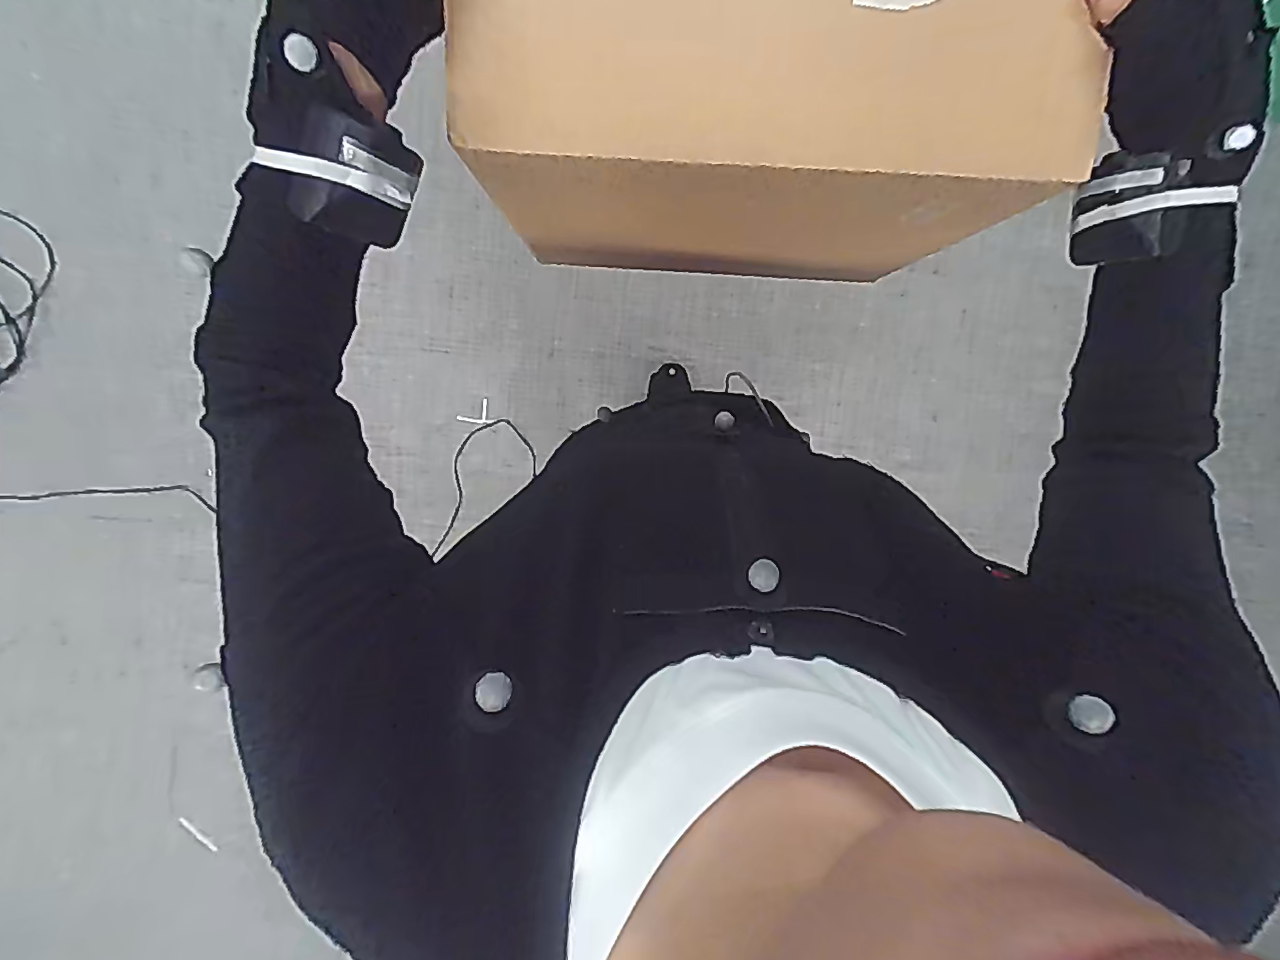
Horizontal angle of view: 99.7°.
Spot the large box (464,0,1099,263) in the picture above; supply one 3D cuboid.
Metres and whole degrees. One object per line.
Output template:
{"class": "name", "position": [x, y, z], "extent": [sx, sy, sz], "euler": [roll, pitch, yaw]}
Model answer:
{"class": "large box", "position": [0.087, -0.387, 0.472], "extent": [0.408, 0.320, 0.320], "euler": [2, 100, -1]}
